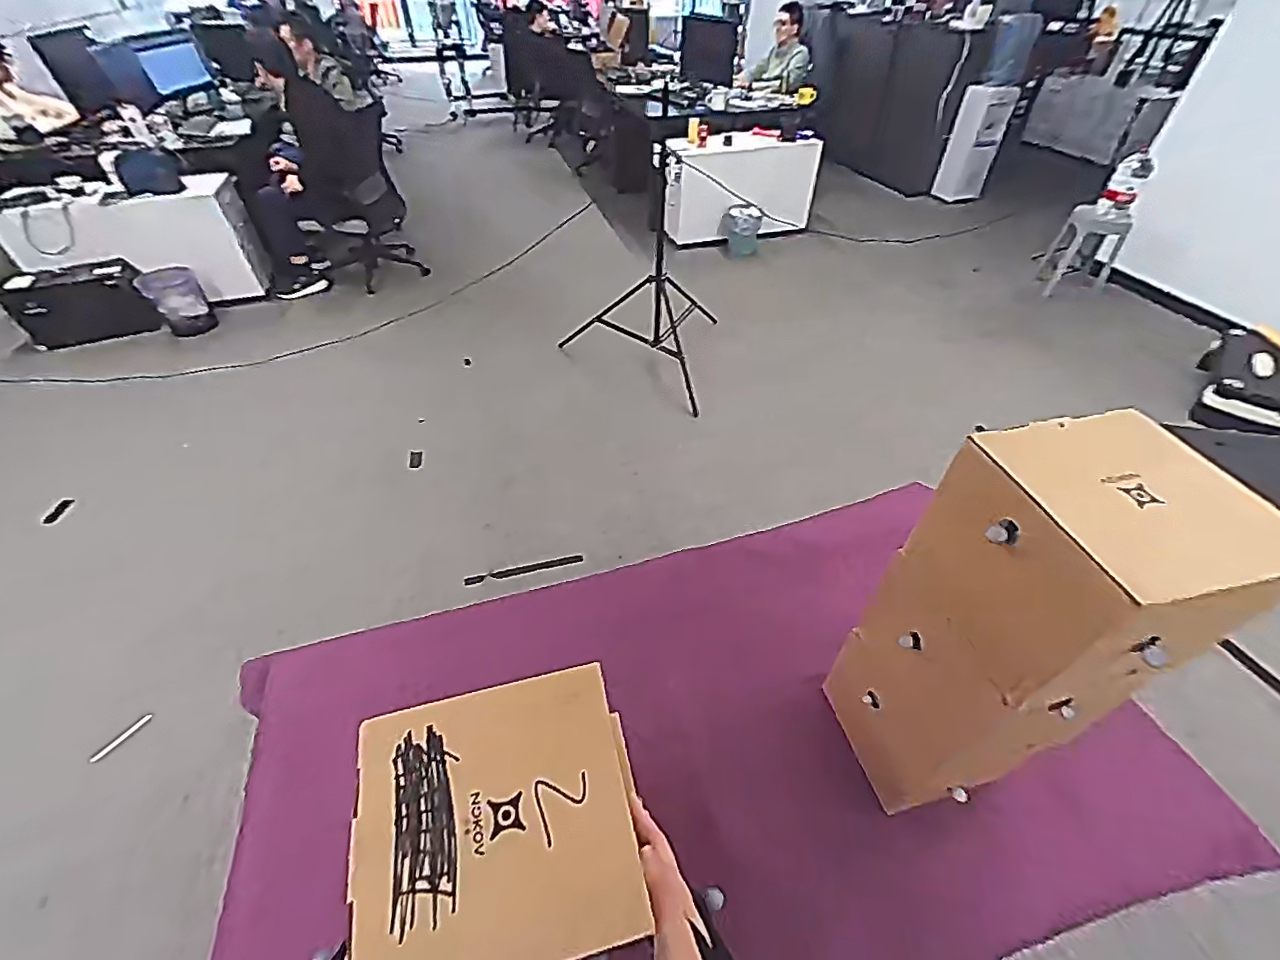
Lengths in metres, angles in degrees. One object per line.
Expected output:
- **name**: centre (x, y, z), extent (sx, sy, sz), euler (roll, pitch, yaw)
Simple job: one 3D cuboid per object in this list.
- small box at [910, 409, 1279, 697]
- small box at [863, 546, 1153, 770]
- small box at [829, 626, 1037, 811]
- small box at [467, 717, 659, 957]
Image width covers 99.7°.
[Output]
- **small box**: centre (0.373, 0.066, 0.466), extent (0.168, 0.176, 0.179), euler (-9, 44, -8)
- **small box**: centre (0.372, 0.179, 0.584), extent (0.168, 0.176, 0.179), euler (-9, 44, -8)
- **small box**: centre (0.371, 0.293, 0.701), extent (0.168, 0.176, 0.179), euler (-11, 45, -10)
- **small box**: centre (-0.085, 0.393, 0.599), extent (0.179, 0.176, 0.168), euler (-10, 44, -10)
